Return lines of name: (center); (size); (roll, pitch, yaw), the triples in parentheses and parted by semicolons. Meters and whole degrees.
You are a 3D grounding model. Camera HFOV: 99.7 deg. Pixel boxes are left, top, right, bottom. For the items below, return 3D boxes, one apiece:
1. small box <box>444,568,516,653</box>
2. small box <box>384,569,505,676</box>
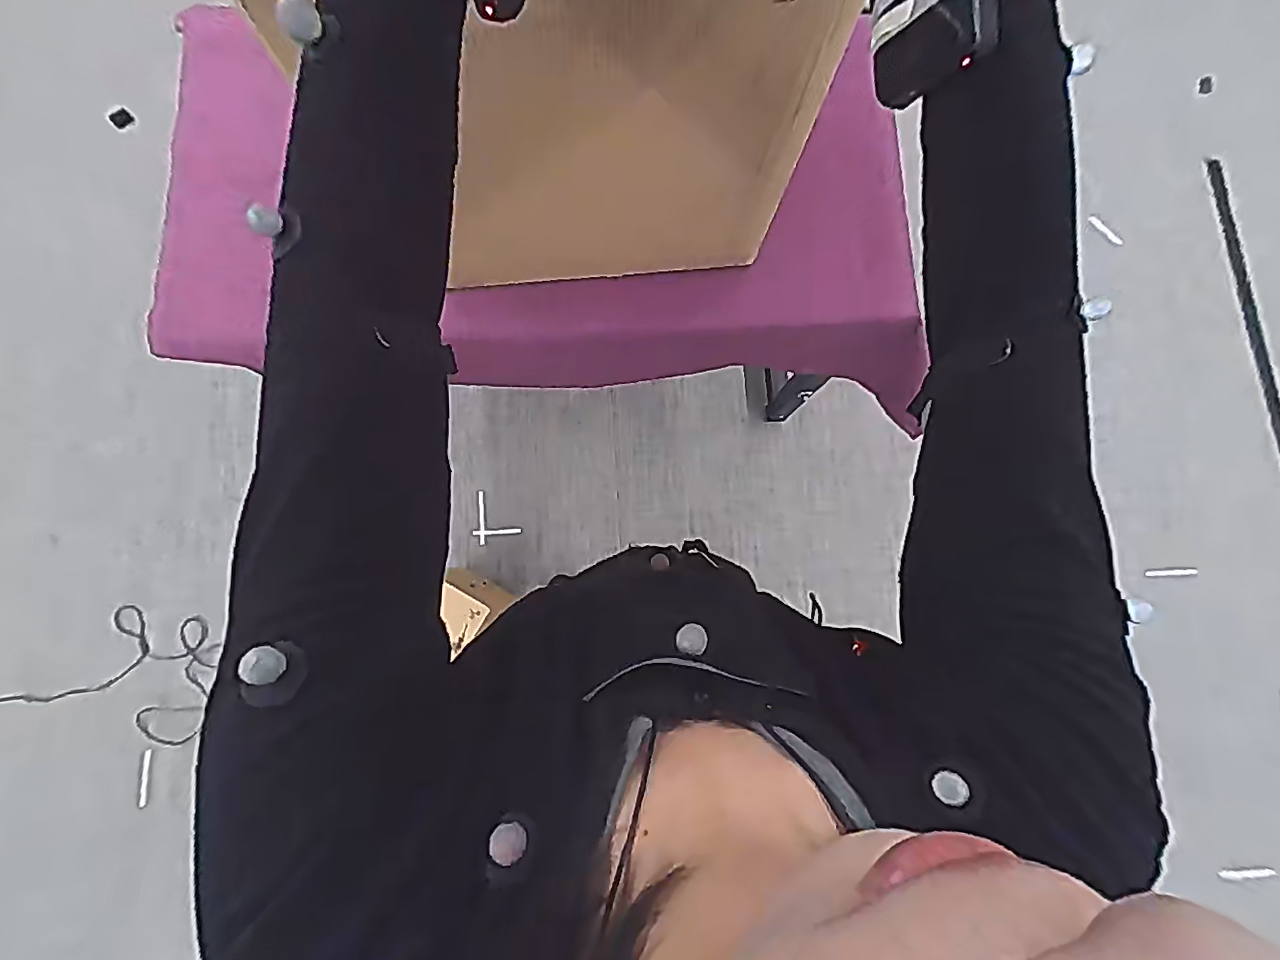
small box: (-0.448, 0.343, 1.407); (0.179, 0.176, 0.168); (28, 81, 2)
small box: (-0.439, 0.321, 1.244); (0.179, 0.176, 0.168); (30, 81, 3)
